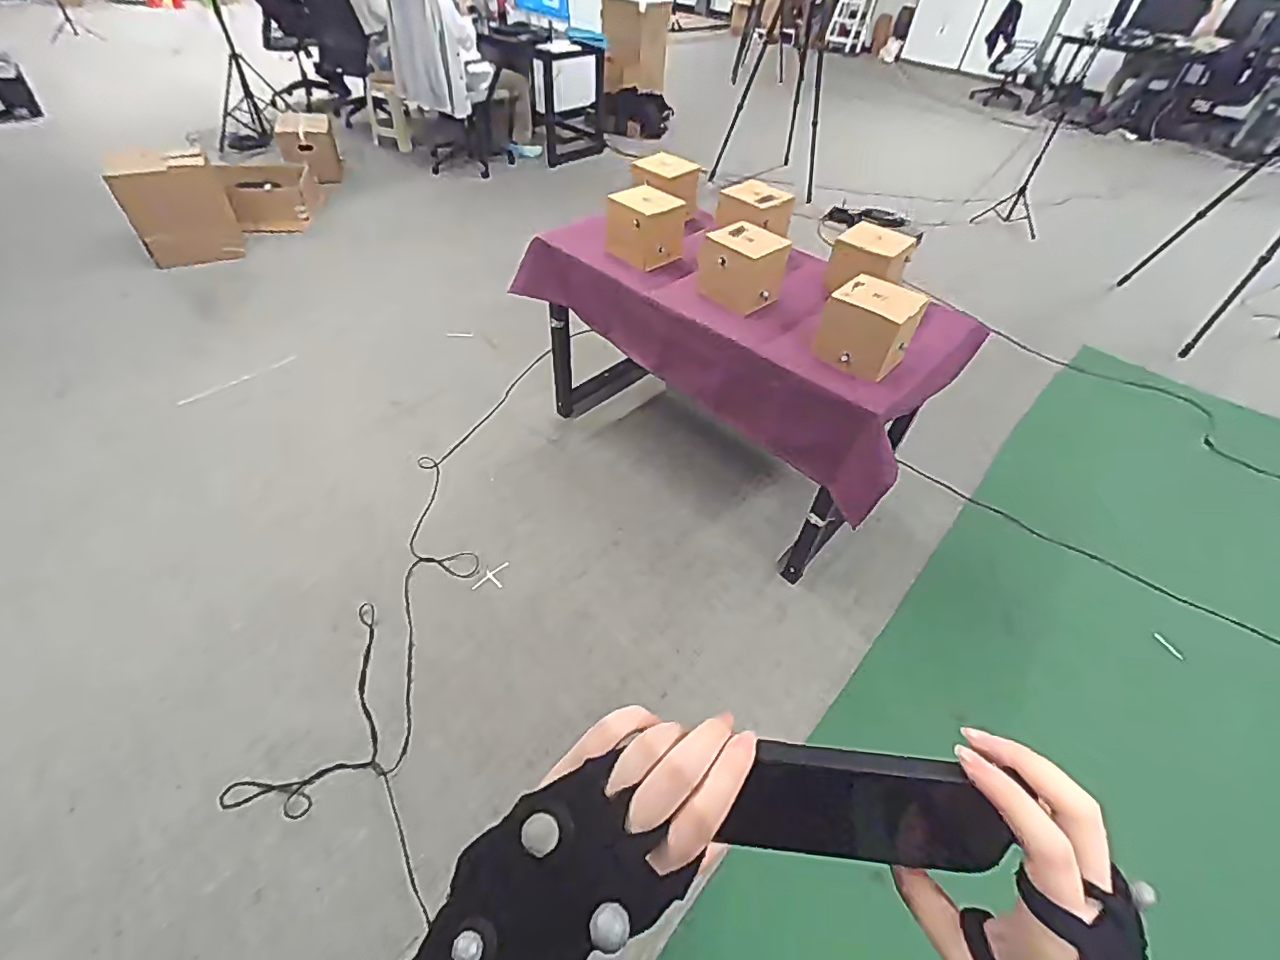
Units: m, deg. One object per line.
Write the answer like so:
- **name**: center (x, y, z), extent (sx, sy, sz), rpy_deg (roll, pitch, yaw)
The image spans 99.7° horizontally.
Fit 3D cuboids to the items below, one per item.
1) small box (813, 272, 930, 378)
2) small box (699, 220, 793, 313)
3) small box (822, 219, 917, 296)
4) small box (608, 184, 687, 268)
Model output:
- **small box**: center (0.551, -0.370, 1.305), extent (0.179, 0.176, 0.168), rpy_deg (35, 54, 25)
- **small box**: center (0.282, -0.587, 1.487), extent (0.168, 0.176, 0.179), rpy_deg (-33, 58, -30)
- **small box**: center (0.644, -0.610, 1.535), extent (0.168, 0.176, 0.179), rpy_deg (34, 54, 25)
- **small box**: center (0.016, -0.767, 1.634), extent (0.179, 0.176, 0.168), rpy_deg (38, 55, 26)
